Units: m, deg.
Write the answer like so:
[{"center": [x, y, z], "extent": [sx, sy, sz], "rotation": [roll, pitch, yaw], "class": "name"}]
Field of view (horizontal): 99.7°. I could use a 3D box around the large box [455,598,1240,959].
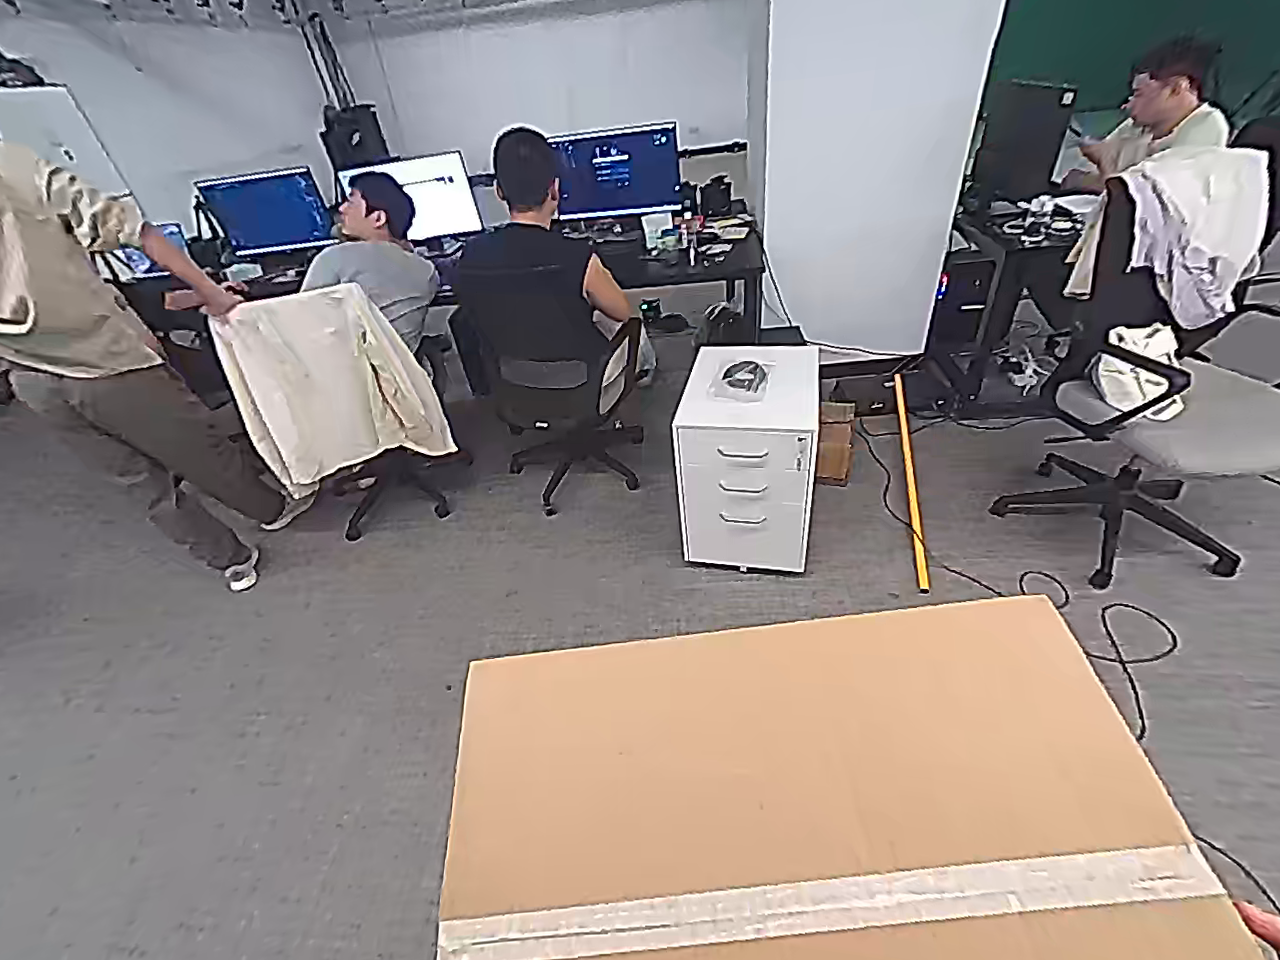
[{"center": [0.109, 0.320, 0.413], "extent": [0.408, 0.320, 0.320], "rotation": [-8, 53, 3], "class": "large box"}]
